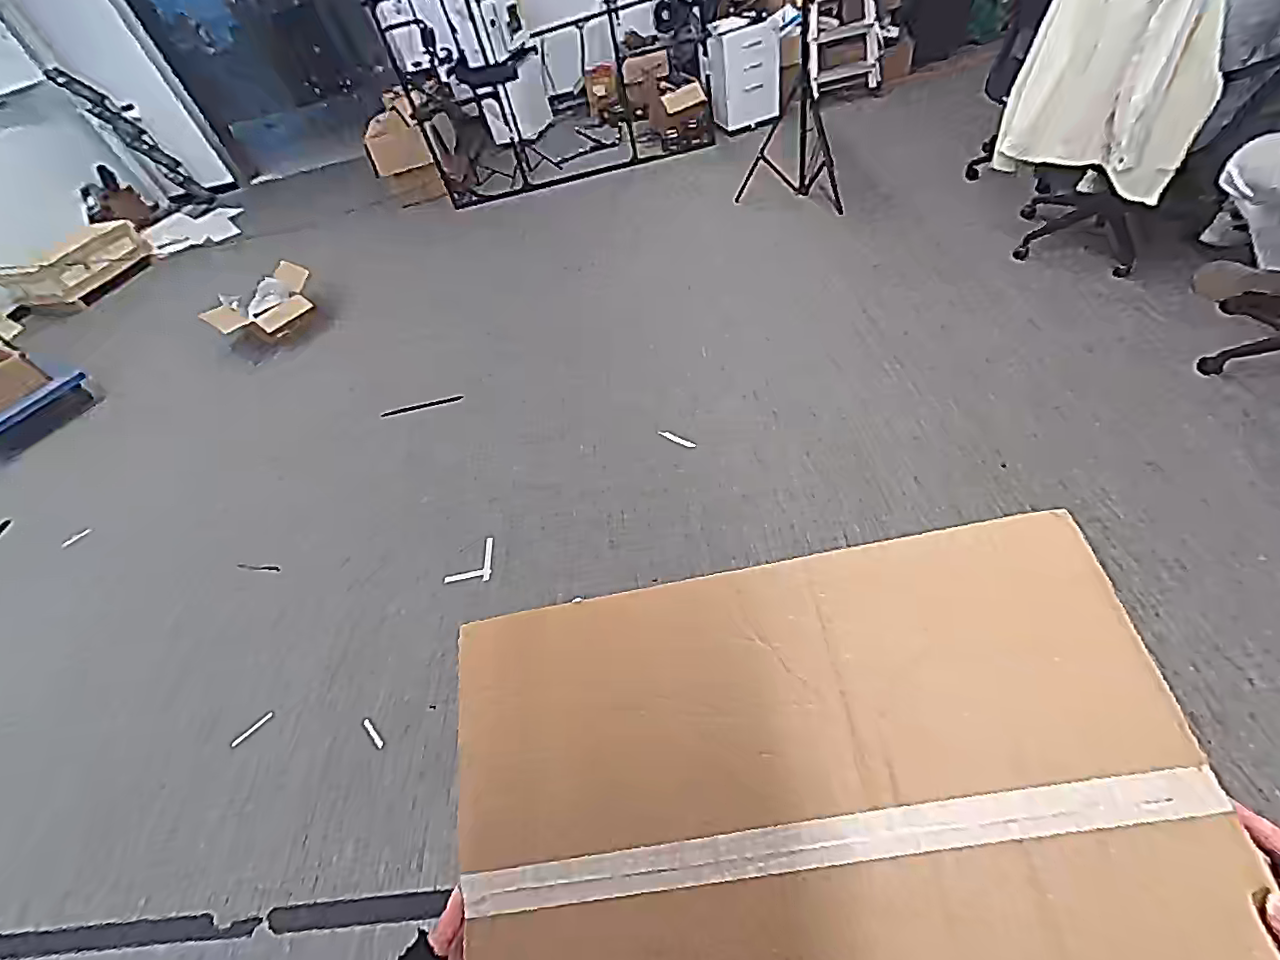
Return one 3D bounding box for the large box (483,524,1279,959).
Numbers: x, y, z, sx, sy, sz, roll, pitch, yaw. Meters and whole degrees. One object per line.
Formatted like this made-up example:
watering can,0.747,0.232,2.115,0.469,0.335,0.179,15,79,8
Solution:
large box,0.128,0.269,0.432,0.408,0.320,0.320,-13,64,7
